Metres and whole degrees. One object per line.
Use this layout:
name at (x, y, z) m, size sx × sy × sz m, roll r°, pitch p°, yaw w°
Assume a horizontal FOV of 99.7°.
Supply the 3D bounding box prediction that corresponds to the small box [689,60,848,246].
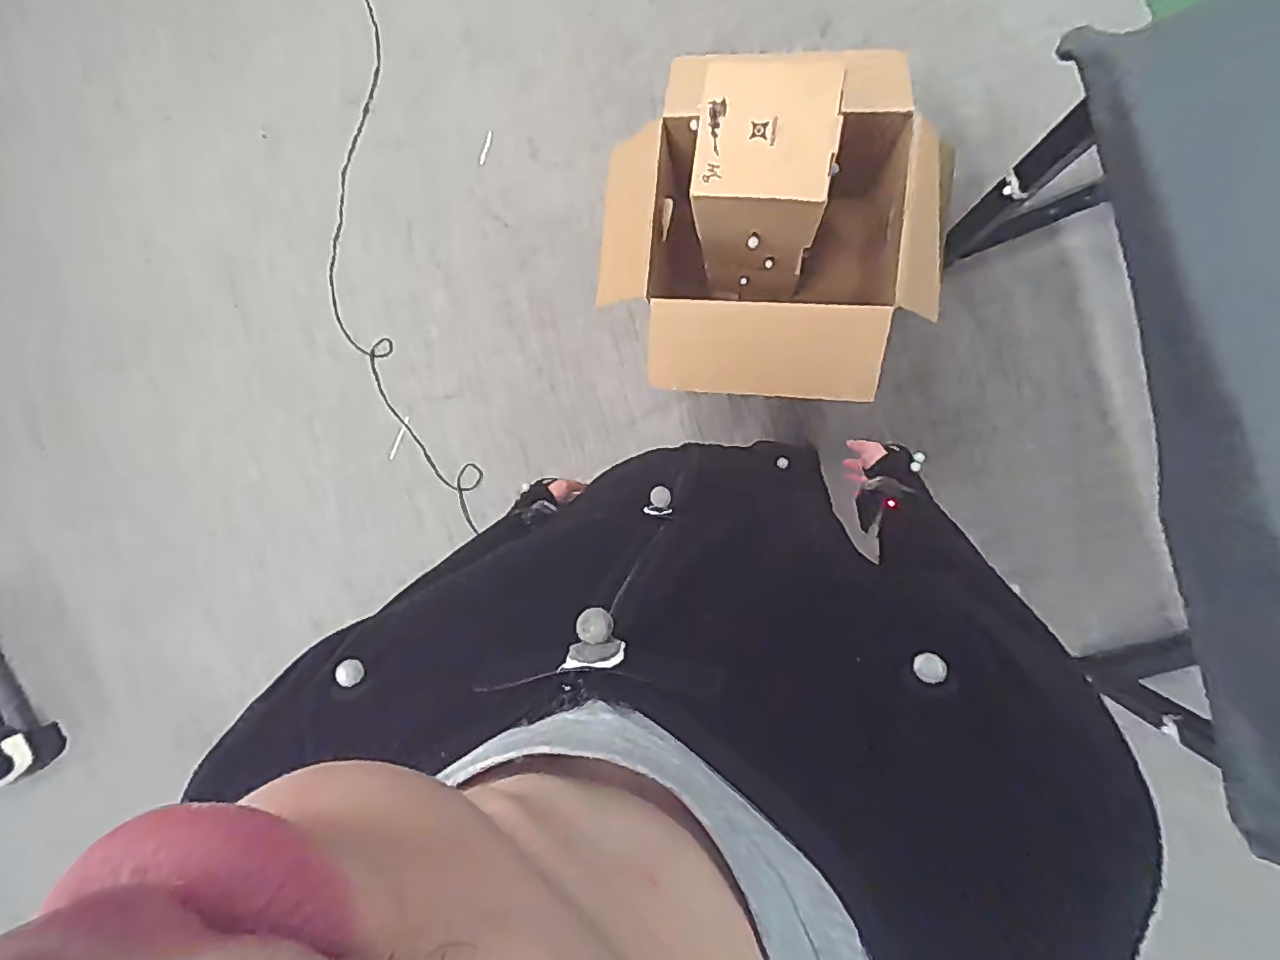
small box at (0.171, -0.442, 0.757) m, size 0.179 × 0.176 × 0.168 m, roll 9°, pitch 96°, yaw 9°
